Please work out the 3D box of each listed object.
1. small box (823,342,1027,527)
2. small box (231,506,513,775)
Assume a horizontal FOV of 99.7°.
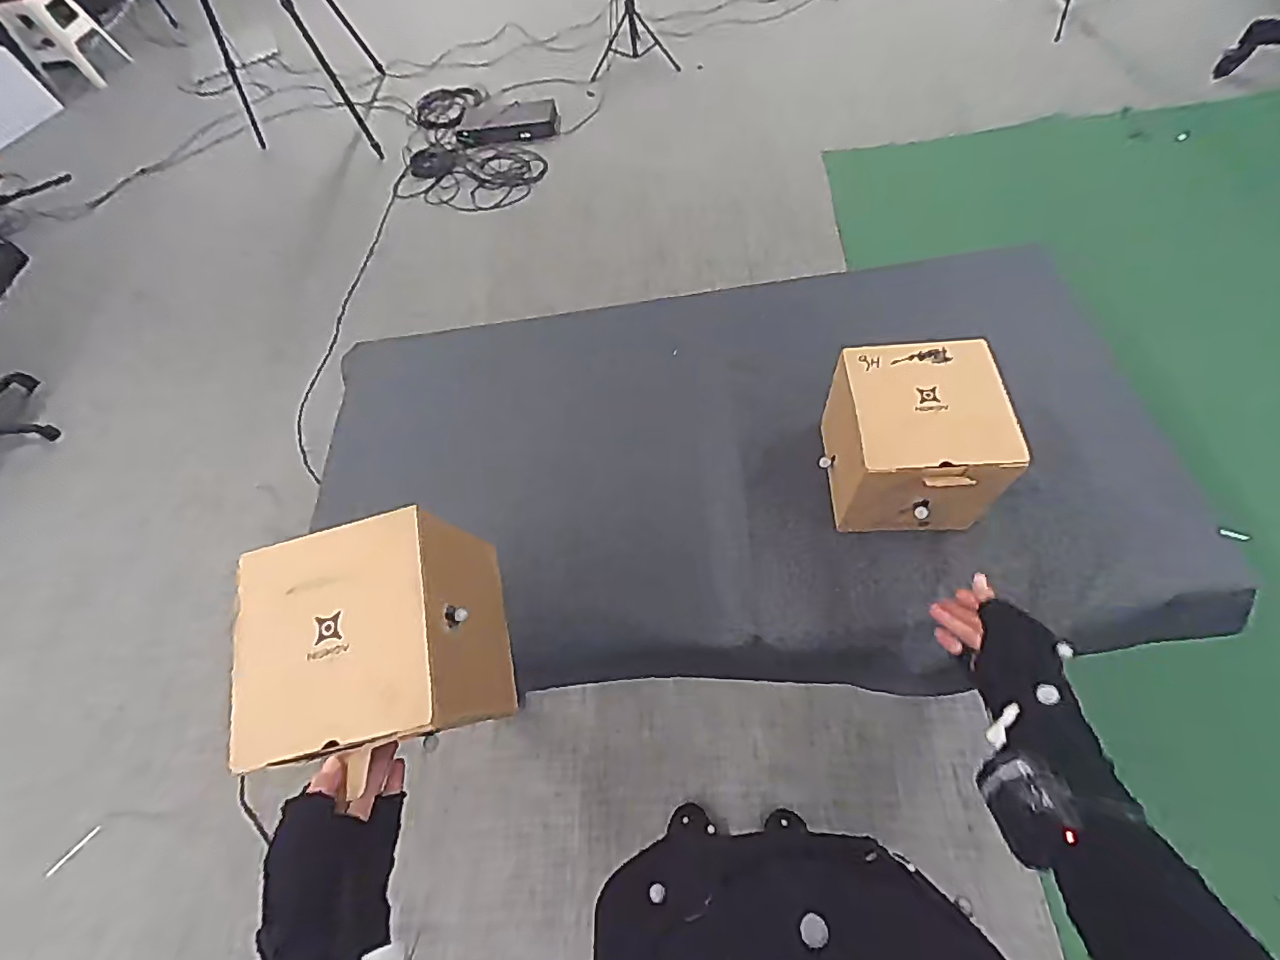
[{"bbox_3d":[0.335,-0.047,0.678,0.168,0.176,0.179,-1,62,6],"label":"small box"},{"bbox_3d":[-0.229,0.146,0.498,0.168,0.176,0.179,-15,68,3],"label":"small box"}]
